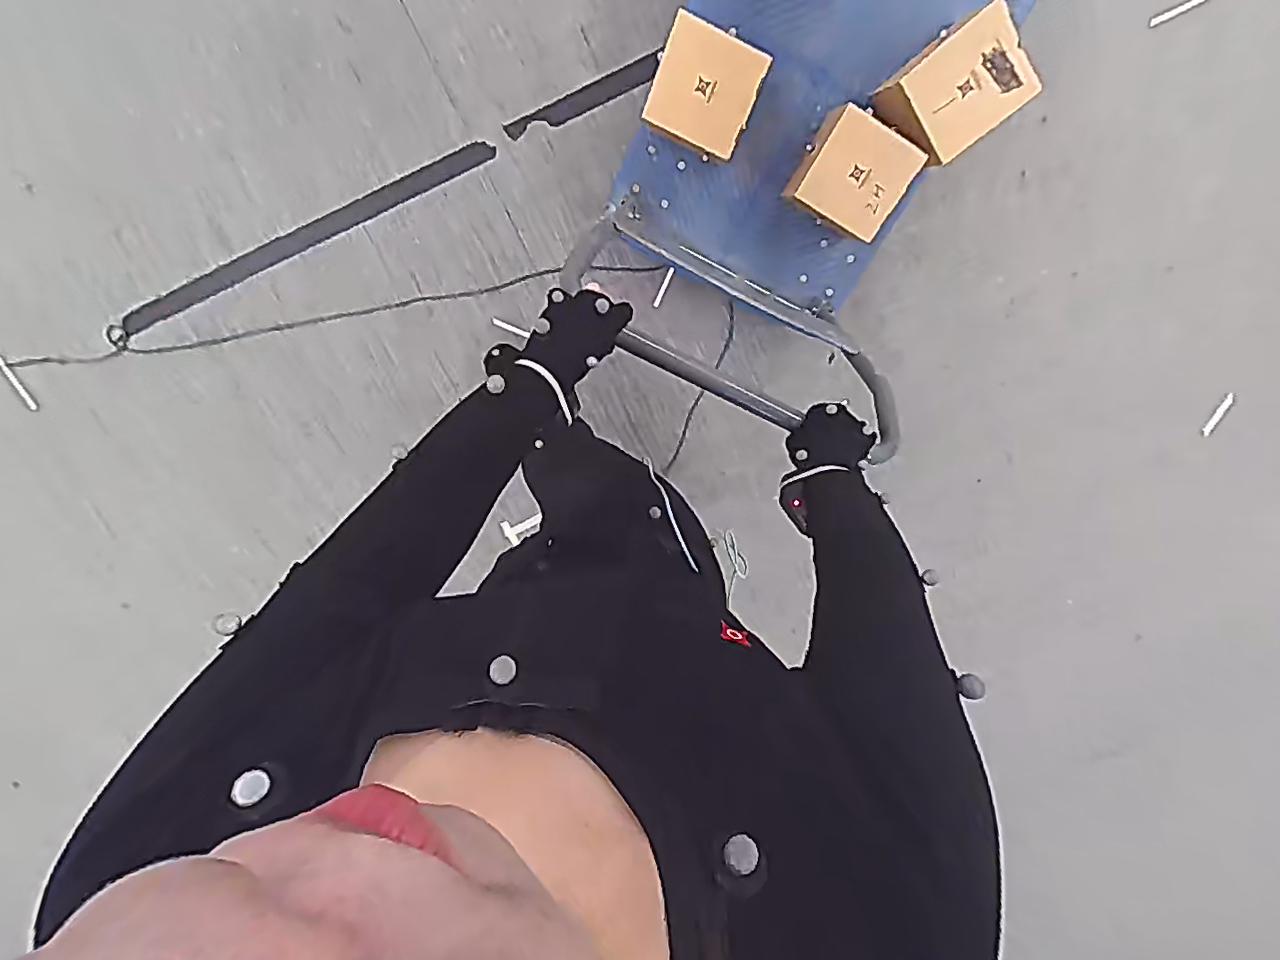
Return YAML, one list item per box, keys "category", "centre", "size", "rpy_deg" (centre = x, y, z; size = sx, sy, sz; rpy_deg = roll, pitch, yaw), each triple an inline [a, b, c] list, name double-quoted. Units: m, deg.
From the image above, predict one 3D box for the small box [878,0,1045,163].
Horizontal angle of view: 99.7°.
- category: "small box"
  centre: [0.564, -0.702, 0.969]
  size: [0.179, 0.176, 0.168]
  rpy_deg: [-34, 111, 21]

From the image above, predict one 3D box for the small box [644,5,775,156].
- category: "small box"
  centre: [0.122, -0.721, 1.002]
  size: [0.179, 0.176, 0.168]
  rpy_deg: [22, 118, -8]

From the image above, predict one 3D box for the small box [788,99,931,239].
- category: "small box"
  centre: [0.408, -0.591, 1.045]
  size: [0.179, 0.176, 0.168]
  rpy_deg: [28, 118, -9]
